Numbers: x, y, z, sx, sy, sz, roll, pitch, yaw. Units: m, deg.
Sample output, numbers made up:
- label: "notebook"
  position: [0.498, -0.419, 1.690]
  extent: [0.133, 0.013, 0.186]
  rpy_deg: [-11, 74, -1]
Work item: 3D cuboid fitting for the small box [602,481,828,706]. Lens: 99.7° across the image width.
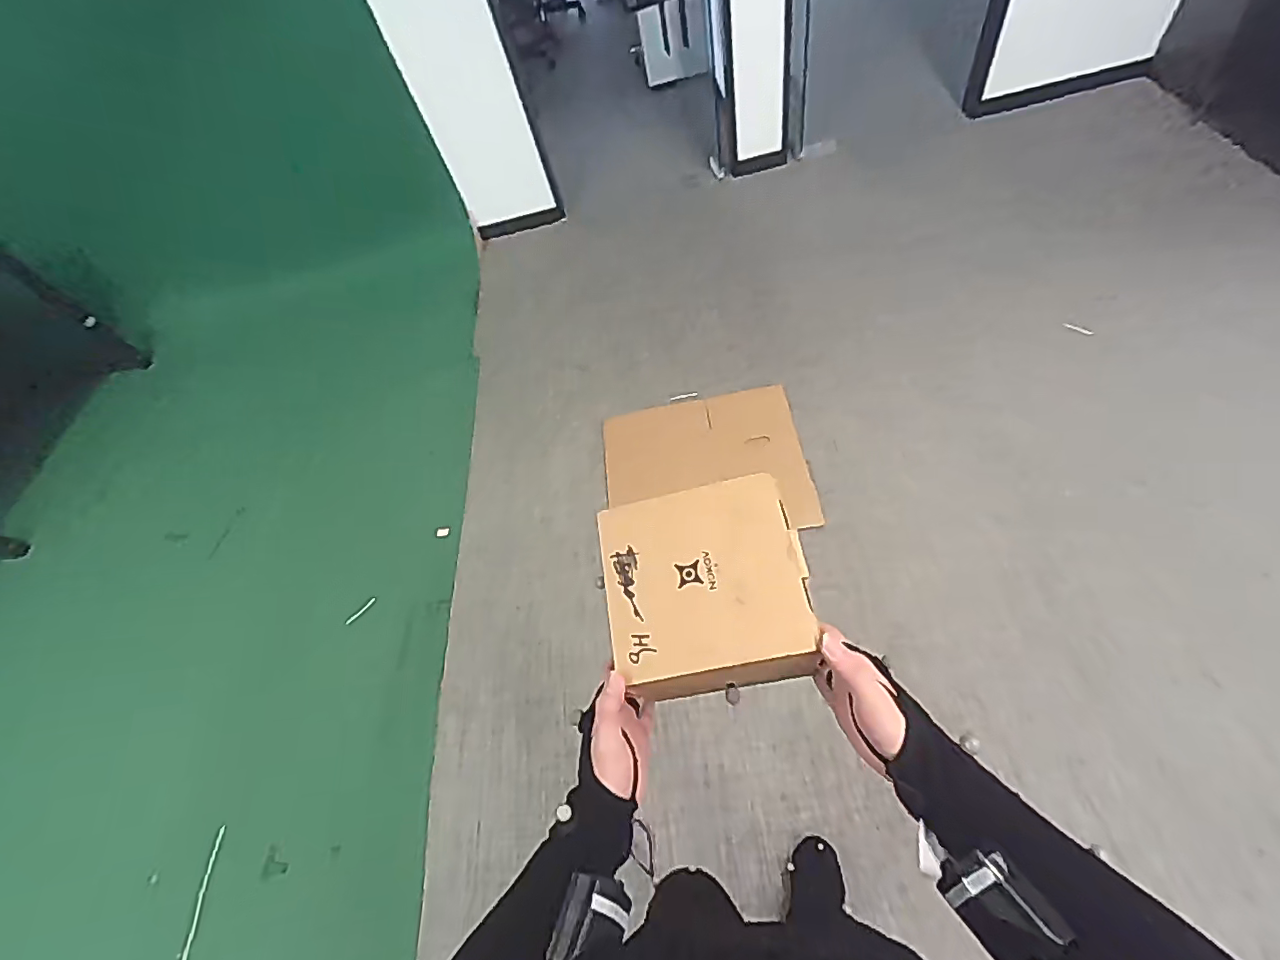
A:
- label: "small box"
  position: [0.072, 0.124, 0.548]
  extent: [0.179, 0.176, 0.168]
  rpy_deg: [-13, 60, 7]
